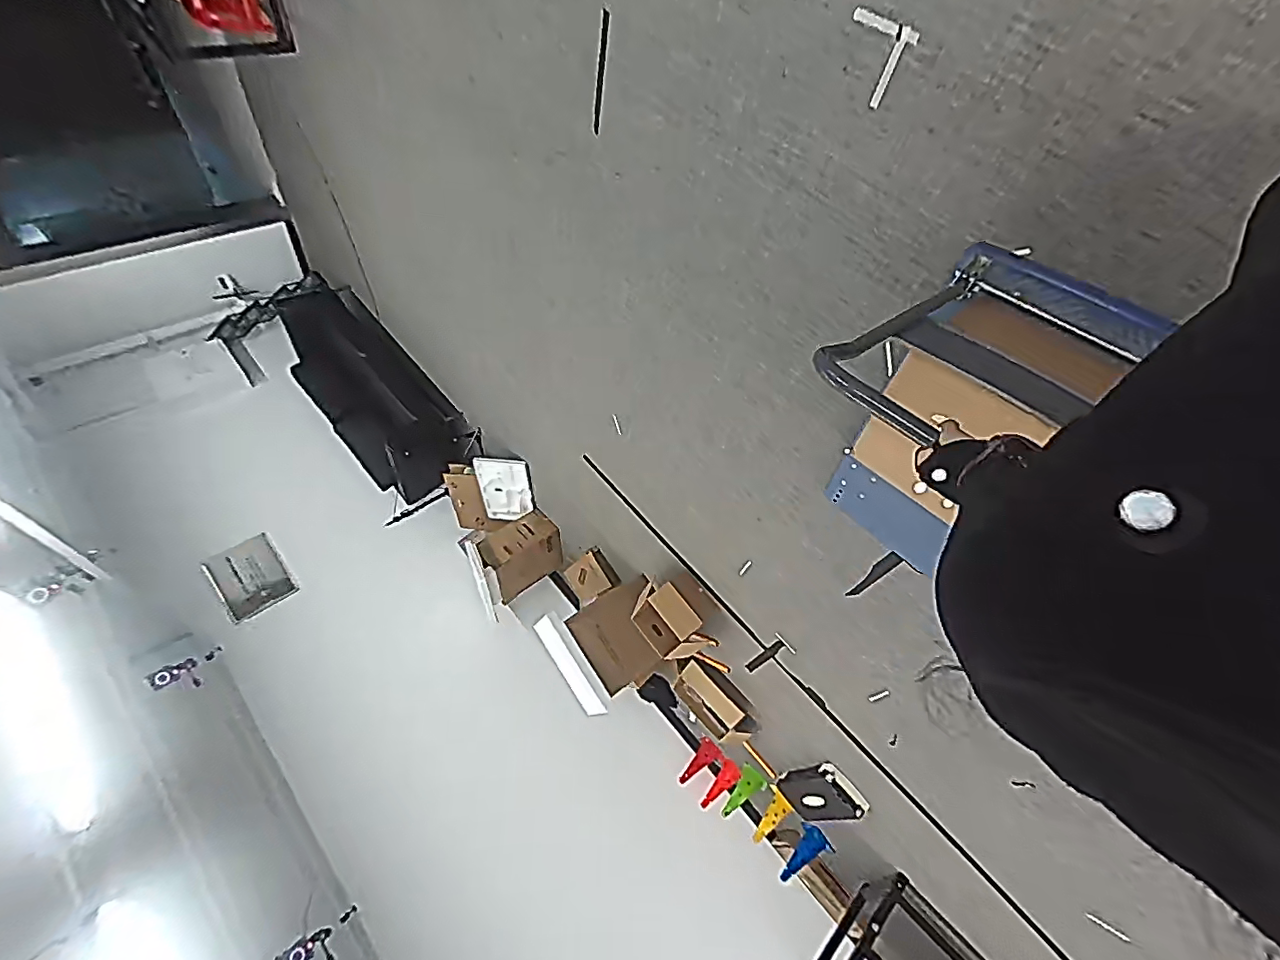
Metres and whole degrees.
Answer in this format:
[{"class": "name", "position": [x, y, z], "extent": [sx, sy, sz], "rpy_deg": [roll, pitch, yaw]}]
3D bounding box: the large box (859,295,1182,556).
[{"class": "large box", "position": [0.768, -0.125, 1.140], "extent": [0.408, 0.320, 0.320], "rpy_deg": [43, 147, 26]}]
